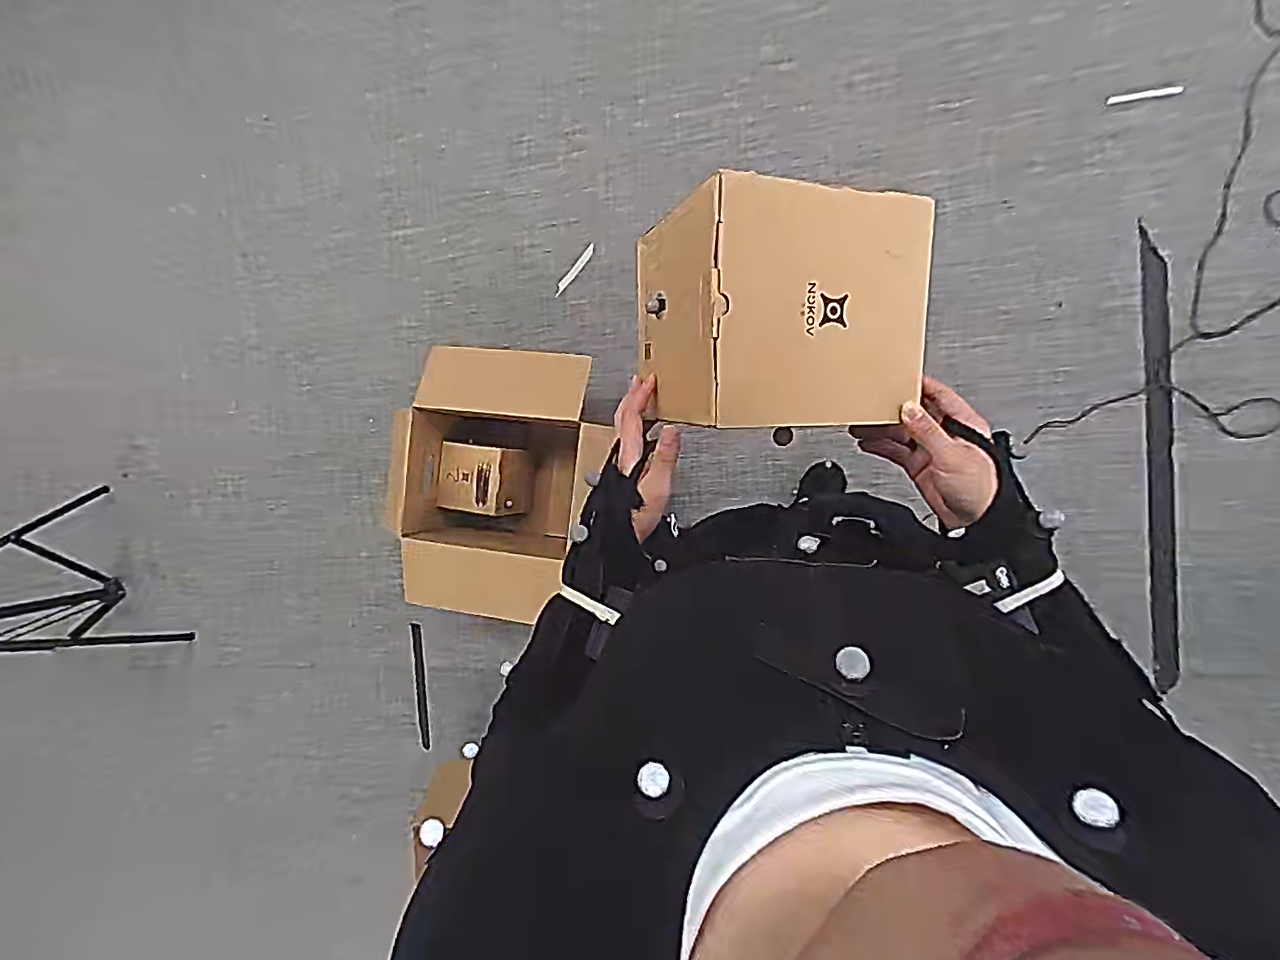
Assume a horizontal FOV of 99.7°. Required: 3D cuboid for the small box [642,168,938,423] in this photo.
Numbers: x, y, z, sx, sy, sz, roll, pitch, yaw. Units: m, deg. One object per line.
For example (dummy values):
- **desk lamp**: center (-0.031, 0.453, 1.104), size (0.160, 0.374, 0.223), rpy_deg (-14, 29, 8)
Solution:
- **small box**: center (0.111, -0.136, 0.458), size (0.179, 0.176, 0.168), rpy_deg (-3, 100, -17)
